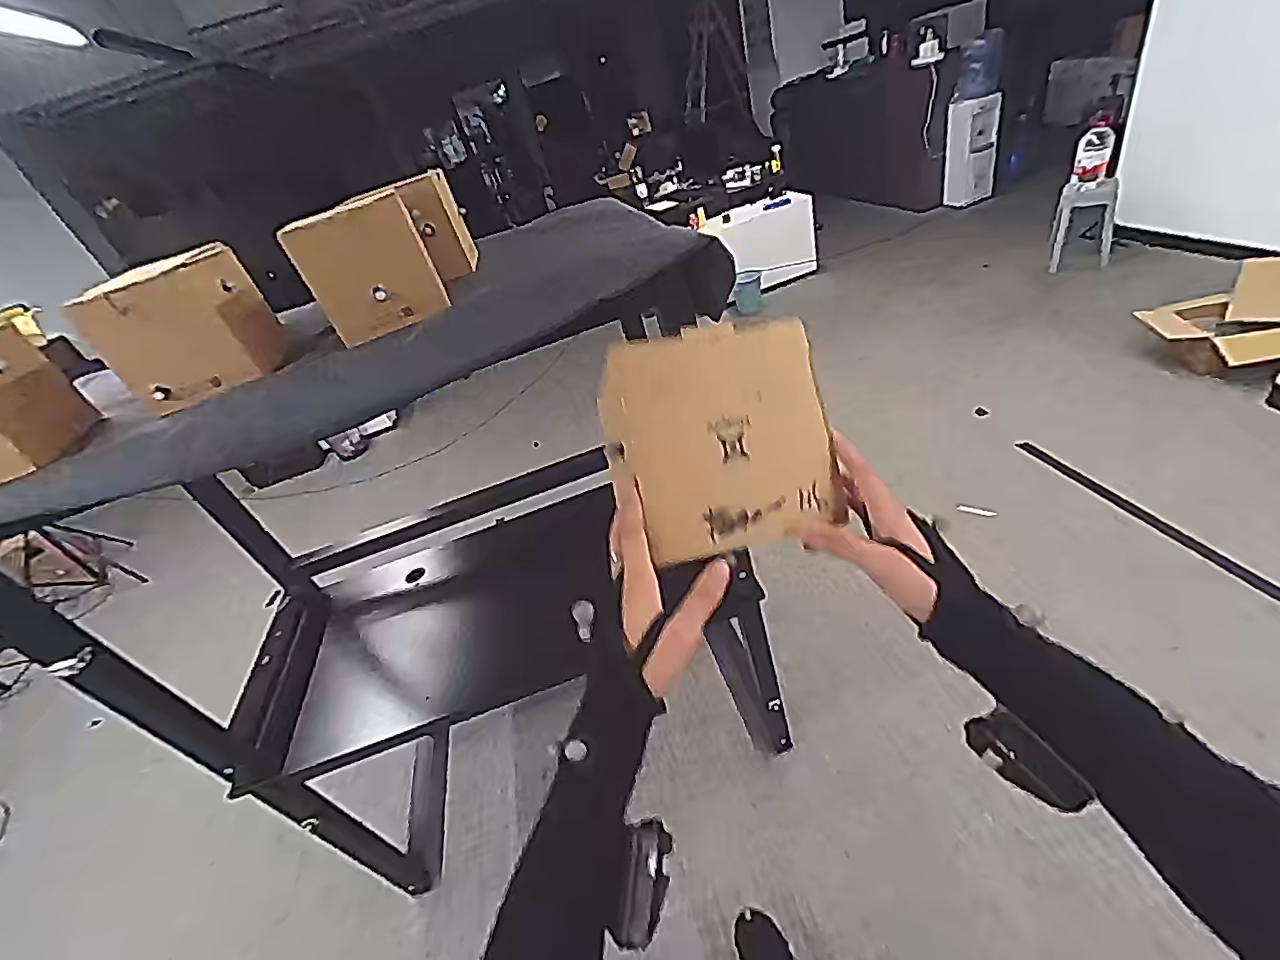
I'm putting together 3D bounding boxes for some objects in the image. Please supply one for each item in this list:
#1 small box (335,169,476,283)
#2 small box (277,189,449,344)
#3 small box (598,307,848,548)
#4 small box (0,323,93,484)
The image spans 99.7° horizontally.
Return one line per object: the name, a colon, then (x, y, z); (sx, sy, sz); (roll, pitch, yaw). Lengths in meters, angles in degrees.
small box: (-0.423, -0.459, 1.012); (0.179, 0.176, 0.168); (-19, 35, -1)
small box: (-0.413, -0.329, 0.834); (0.168, 0.176, 0.179); (-25, 36, -9)
small box: (0.059, -0.036, 0.501); (0.168, 0.179, 0.176); (-10, -5, -9)
small box: (-0.936, -0.090, 0.749); (0.168, 0.176, 0.179); (-22, 37, -5)
